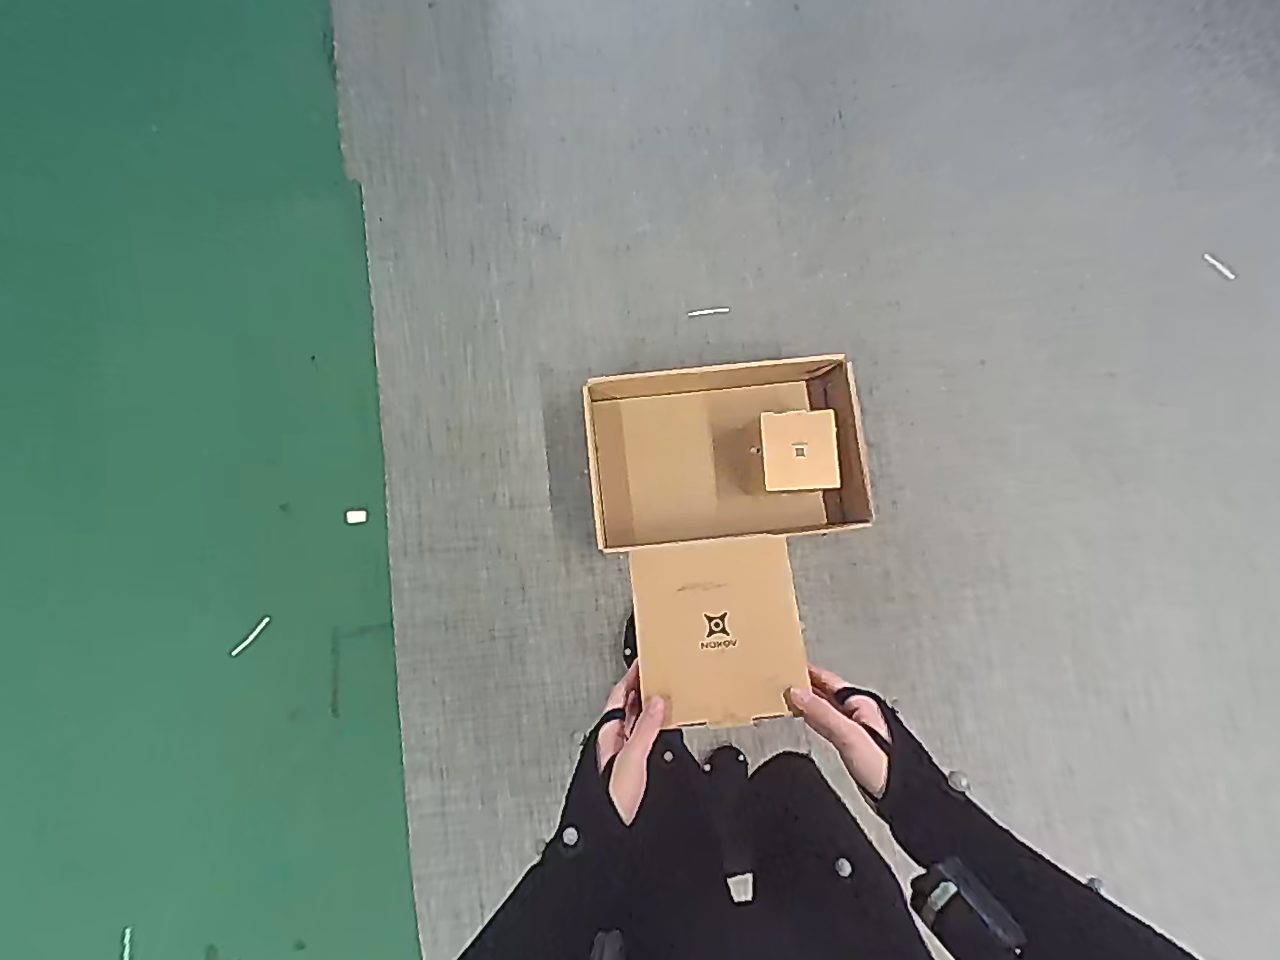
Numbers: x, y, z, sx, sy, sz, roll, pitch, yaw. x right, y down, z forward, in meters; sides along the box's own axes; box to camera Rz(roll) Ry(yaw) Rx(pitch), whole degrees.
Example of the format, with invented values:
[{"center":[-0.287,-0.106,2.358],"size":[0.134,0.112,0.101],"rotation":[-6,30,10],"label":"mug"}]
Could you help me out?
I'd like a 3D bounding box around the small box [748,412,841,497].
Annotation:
[{"center":[0.352,-0.052,1.256],"size":[0.168,0.176,0.179],"rotation":[-3,83,-1],"label":"small box"}]
